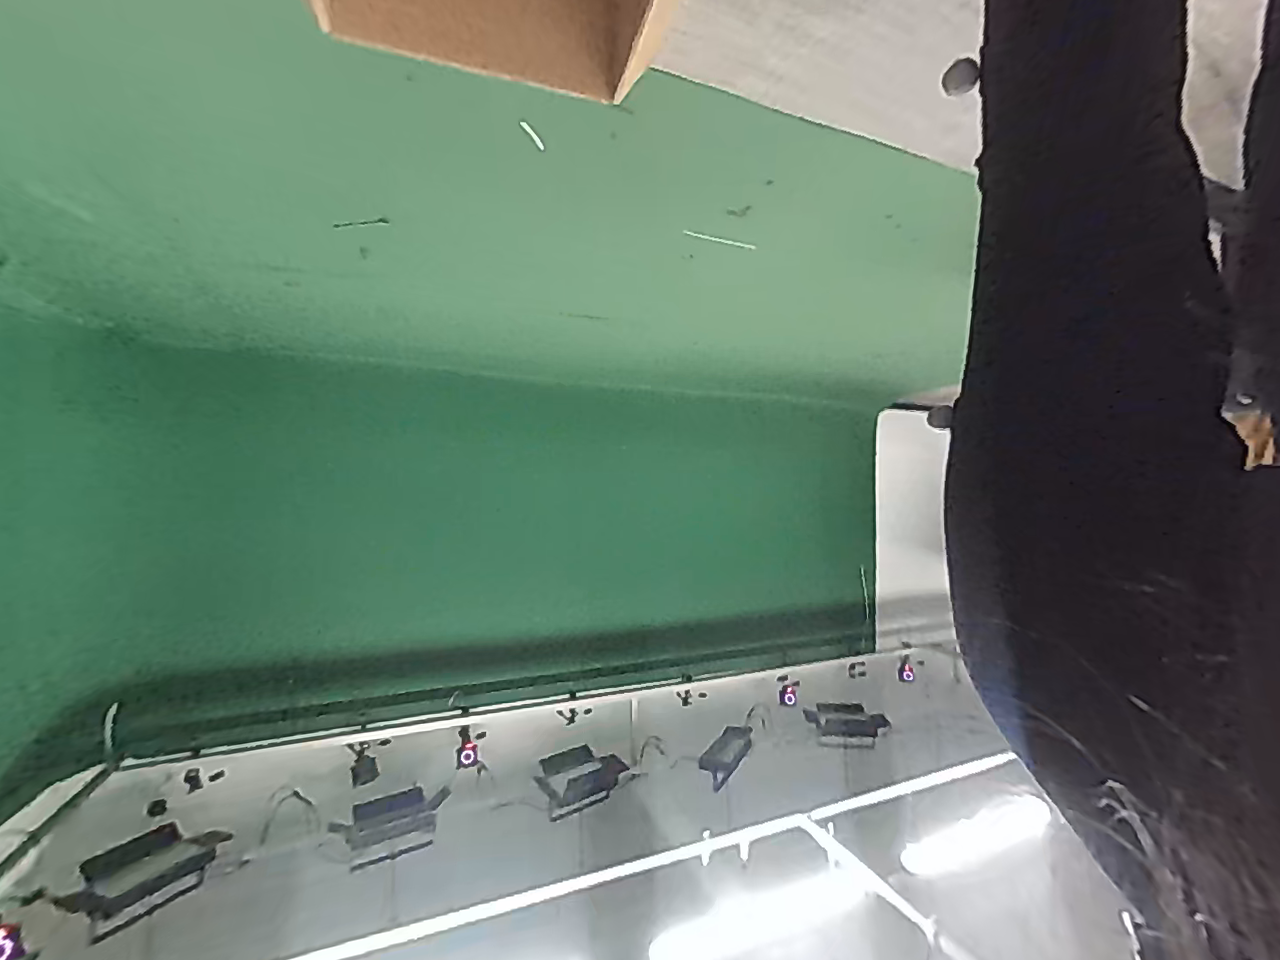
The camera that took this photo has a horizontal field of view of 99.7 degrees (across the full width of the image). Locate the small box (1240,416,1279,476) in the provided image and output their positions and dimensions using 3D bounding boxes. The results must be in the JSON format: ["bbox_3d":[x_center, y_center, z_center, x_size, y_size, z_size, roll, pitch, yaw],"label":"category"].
[{"bbox_3d":[1.886,-0.096,1.560,0.179,0.176,0.168,2,178,-26],"label":"small box"}]
